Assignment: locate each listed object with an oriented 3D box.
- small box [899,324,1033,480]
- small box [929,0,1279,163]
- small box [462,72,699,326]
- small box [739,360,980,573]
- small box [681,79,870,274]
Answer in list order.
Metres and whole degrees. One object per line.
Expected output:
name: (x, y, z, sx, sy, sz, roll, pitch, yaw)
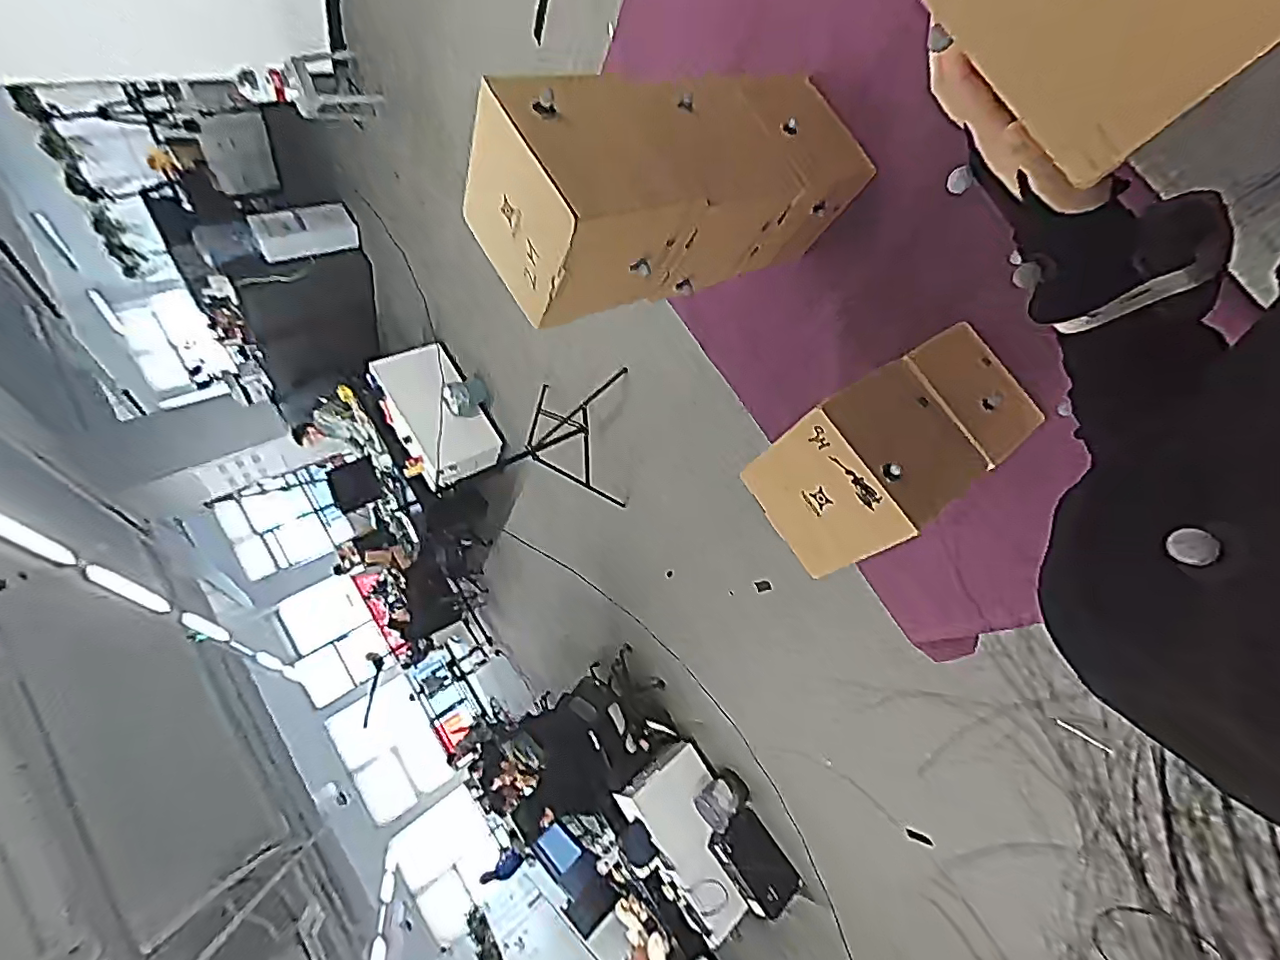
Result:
small box: (0.390, -0.084, 0.736, 0.168, 0.176, 0.179, 56, 150, 9)
small box: (0.217, -0.263, 0.213, 0.179, 0.176, 0.168, 53, 143, 2)
small box: (-0.070, -0.305, 0.596, 0.179, 0.176, 0.168, 57, 149, 7)
small box: (0.262, -0.015, 0.660, 0.168, 0.176, 0.179, 55, 150, 10)
small box: (0.183, -0.430, 0.765, 0.179, 0.176, 0.168, 58, 149, 7)
